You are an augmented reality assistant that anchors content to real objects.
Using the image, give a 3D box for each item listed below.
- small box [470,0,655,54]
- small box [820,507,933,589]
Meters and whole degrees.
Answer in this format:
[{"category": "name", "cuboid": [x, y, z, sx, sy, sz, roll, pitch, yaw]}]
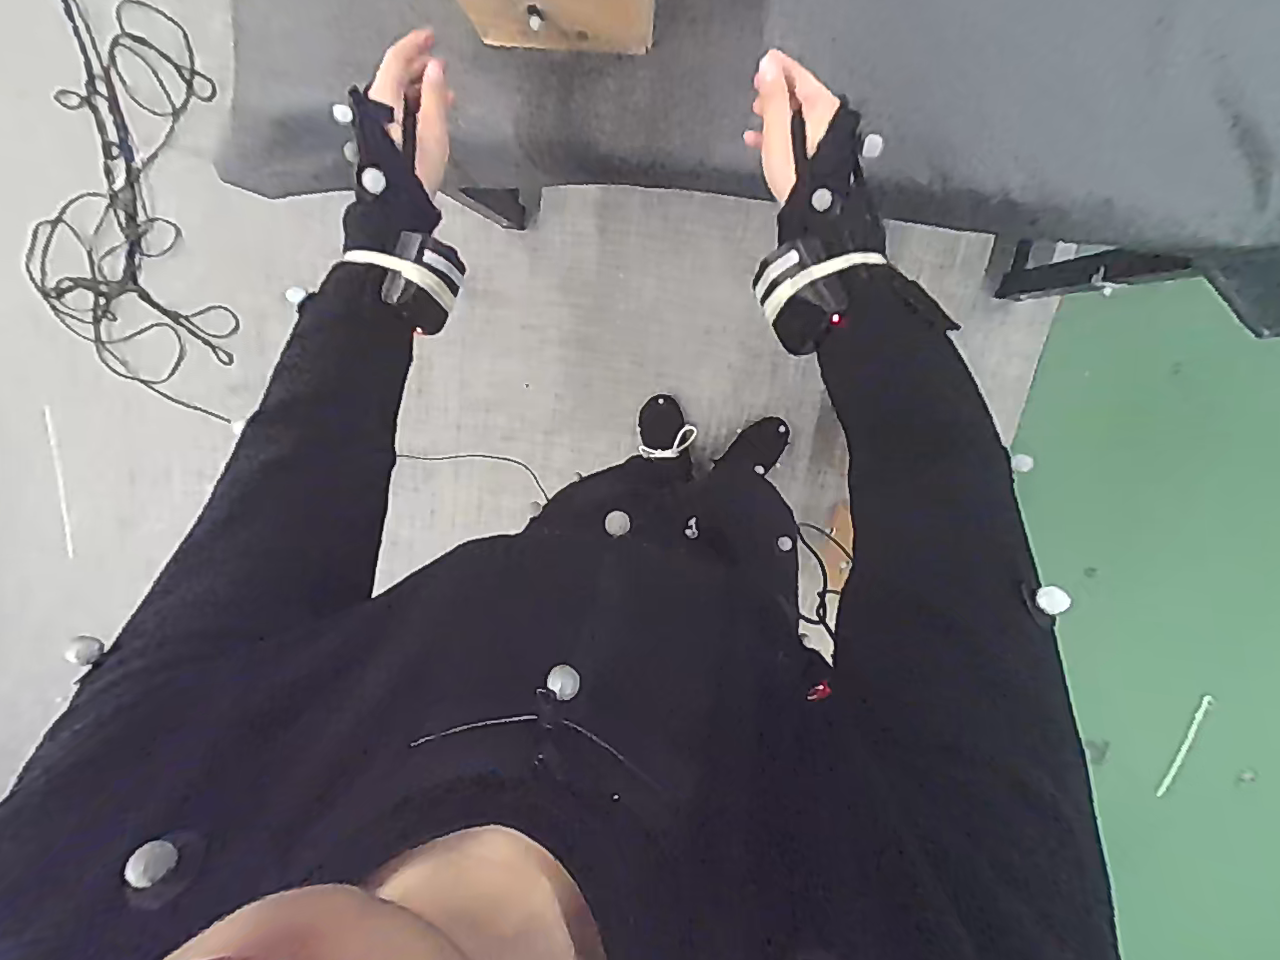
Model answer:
[{"category": "small box", "cuboid": [-0.069, -0.484, 0.426, 0.168, 0.176, 0.179, 6, 105, 4]}, {"category": "small box", "cuboid": [0.547, 0.175, 1.275, 0.179, 0.176, 0.168, 14, 104, 4]}]
